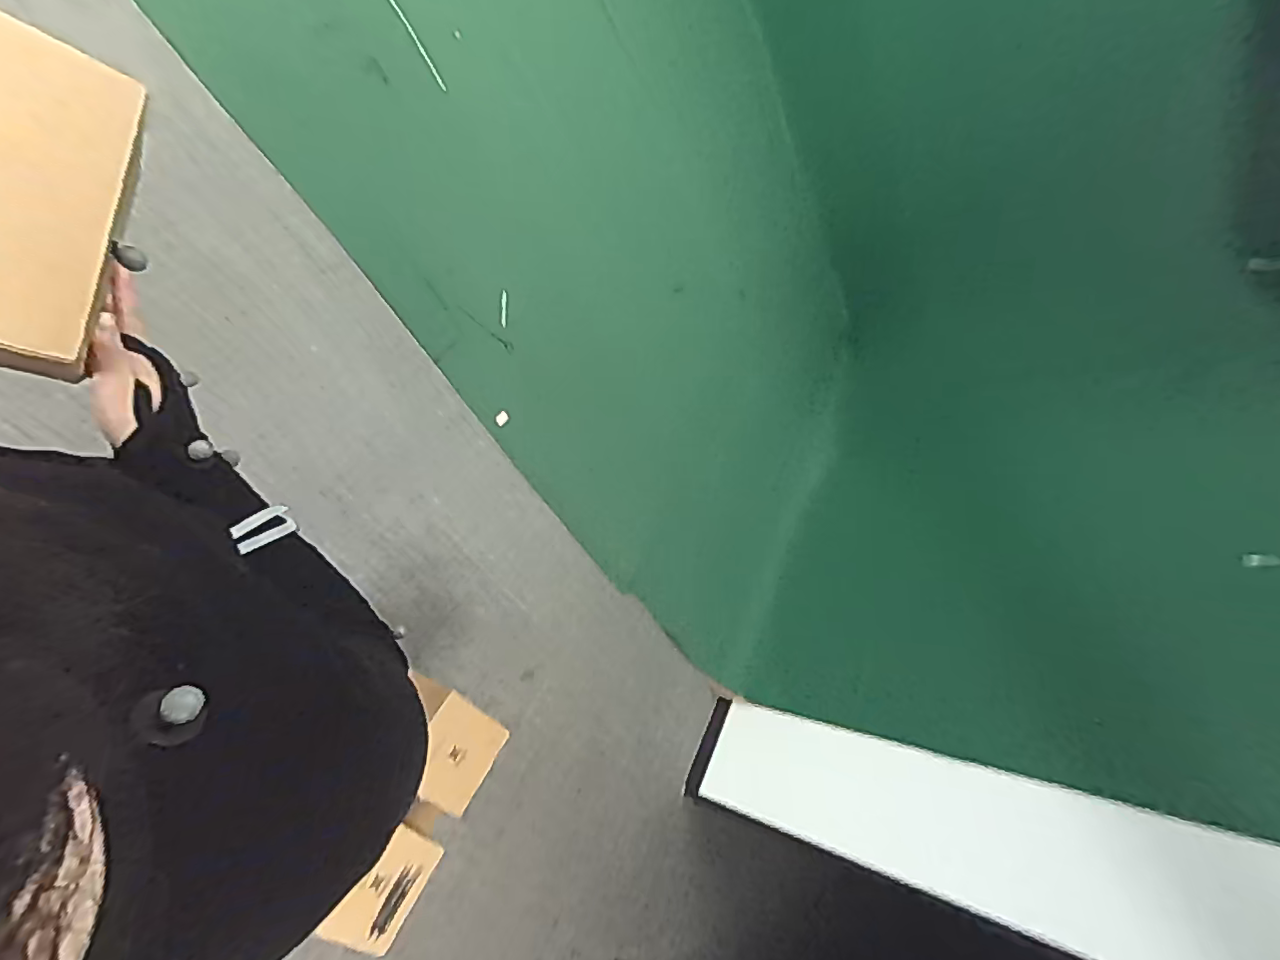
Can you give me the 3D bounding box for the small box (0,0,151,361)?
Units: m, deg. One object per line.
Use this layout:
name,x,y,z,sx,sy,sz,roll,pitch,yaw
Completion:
small box,-0.427,-0.183,0.324,0.168,0.176,0.179,13,86,-46
